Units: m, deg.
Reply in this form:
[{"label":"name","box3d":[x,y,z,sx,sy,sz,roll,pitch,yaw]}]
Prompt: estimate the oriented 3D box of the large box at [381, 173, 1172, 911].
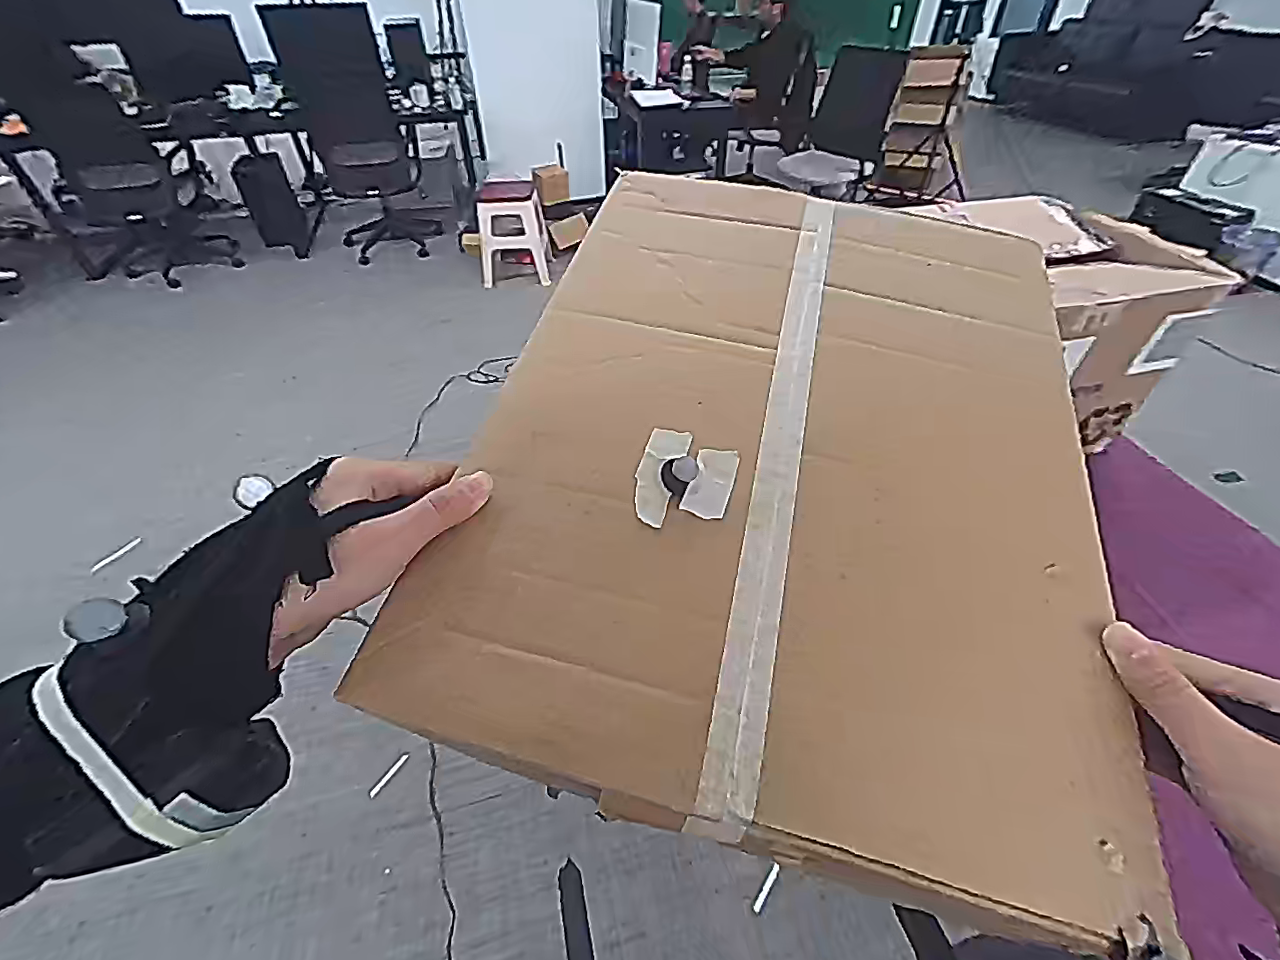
[{"label":"large box","box3d":[0.080,0.033,0.432,0.320,0.320,0.408,12,59,7]}]
